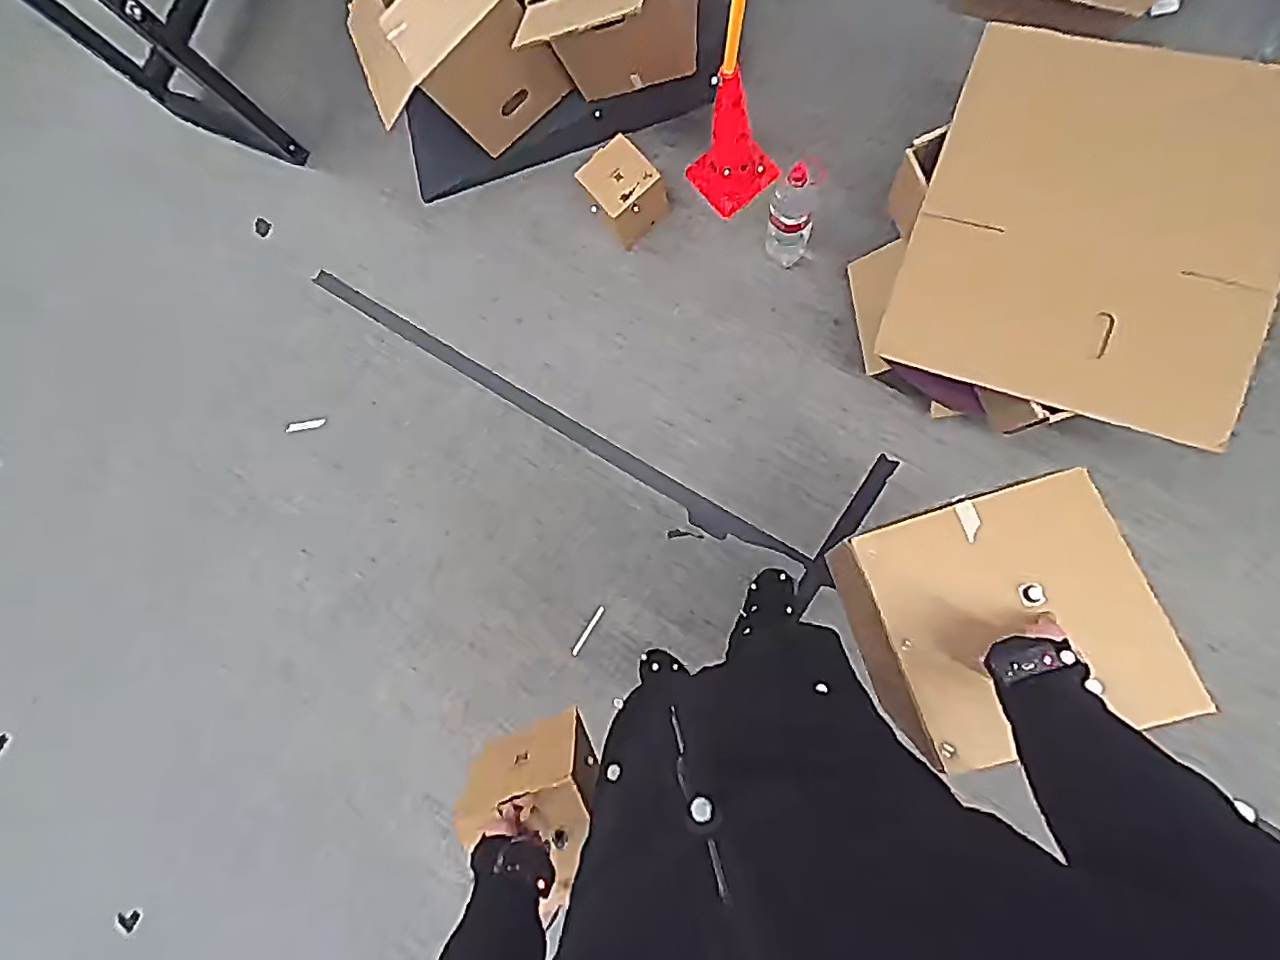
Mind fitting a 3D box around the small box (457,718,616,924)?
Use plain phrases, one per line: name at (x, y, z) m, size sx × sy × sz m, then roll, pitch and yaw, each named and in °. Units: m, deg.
small box at (-0.138, 0.492, 0.787) m, size 0.168 × 0.179 × 0.176 m, roll -20°, pitch 94°, yaw -2°
